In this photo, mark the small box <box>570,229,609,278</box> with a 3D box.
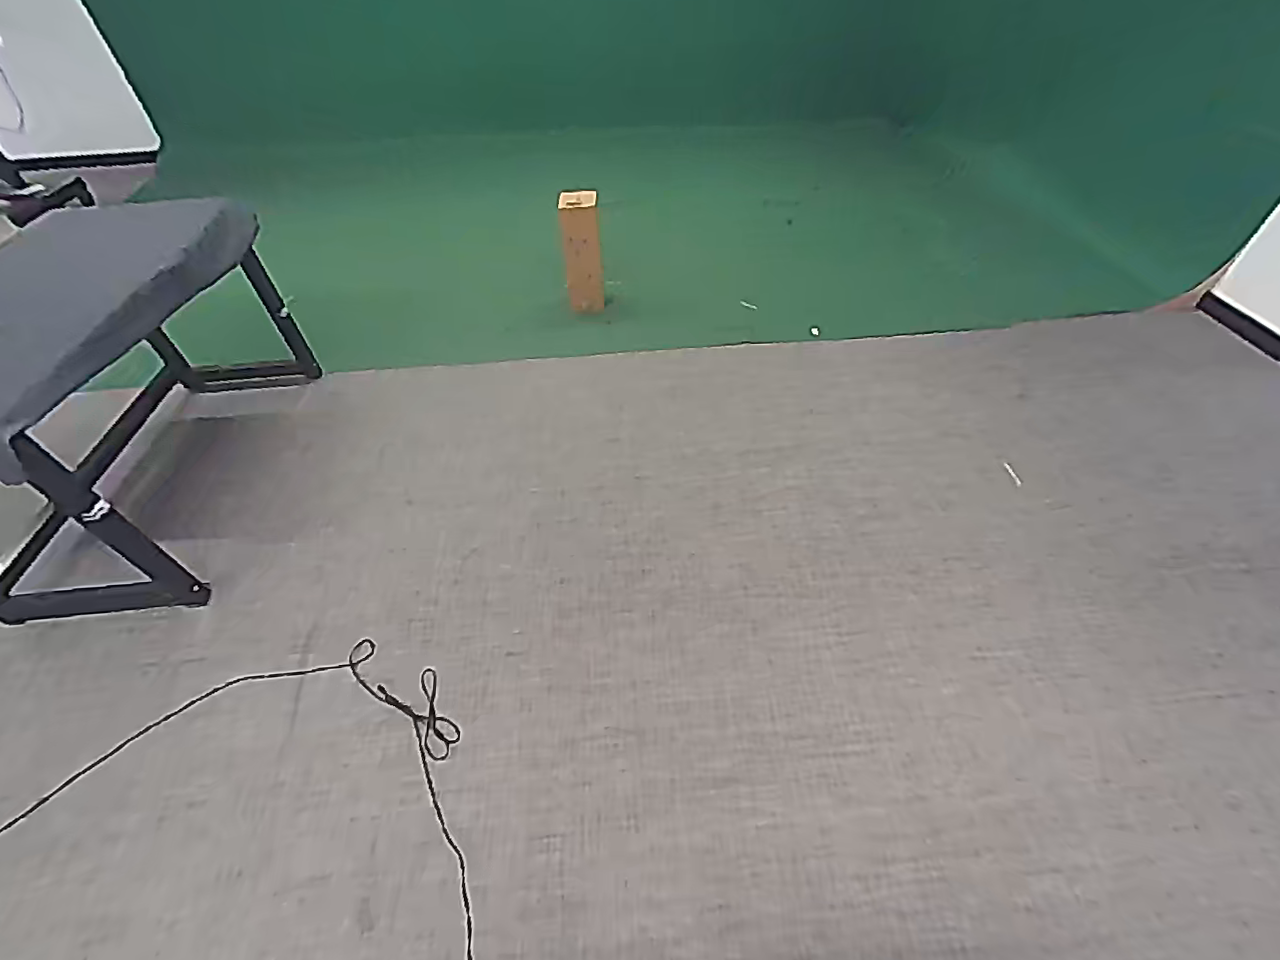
[{"bbox_3d":[-0.238,-1.081,2.580,0.168,0.176,0.179,-3,47,1],"label":"small box"}]

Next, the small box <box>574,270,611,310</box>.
[{"bbox_3d":[-0.235,-0.968,2.698,0.168,0.176,0.179,-3,49,1],"label":"small box"}]

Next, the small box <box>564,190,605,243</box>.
[{"bbox_3d":[-0.248,-1.196,2.462,0.168,0.176,0.179,-2,47,1],"label":"small box"}]
